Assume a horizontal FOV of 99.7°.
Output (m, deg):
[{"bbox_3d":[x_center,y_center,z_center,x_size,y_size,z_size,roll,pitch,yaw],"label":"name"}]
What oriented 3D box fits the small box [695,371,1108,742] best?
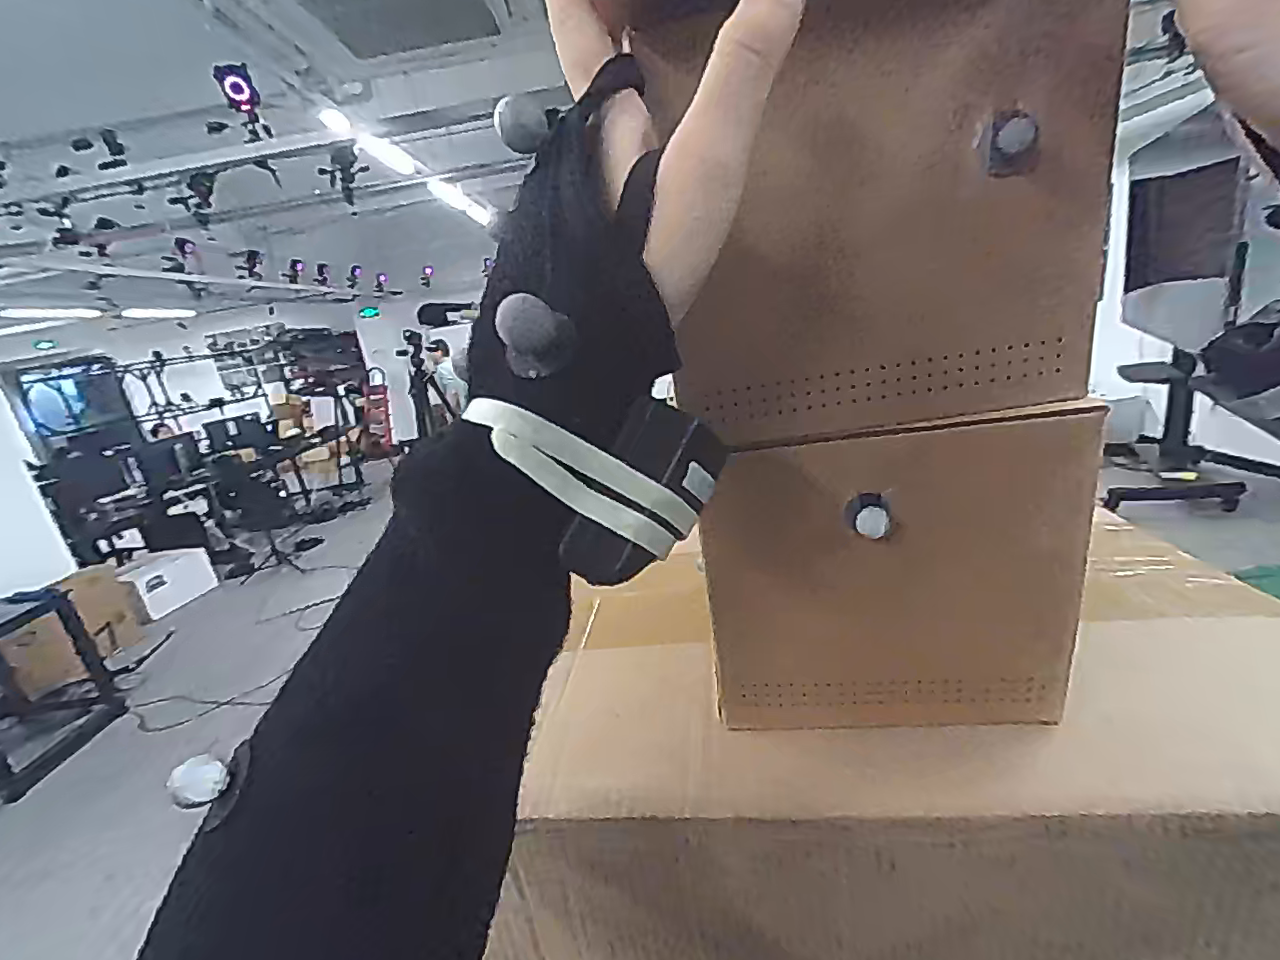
[{"bbox_3d":[0.134,0.039,0.339,0.179,0.176,0.168,-6,19,11],"label":"small box"}]
